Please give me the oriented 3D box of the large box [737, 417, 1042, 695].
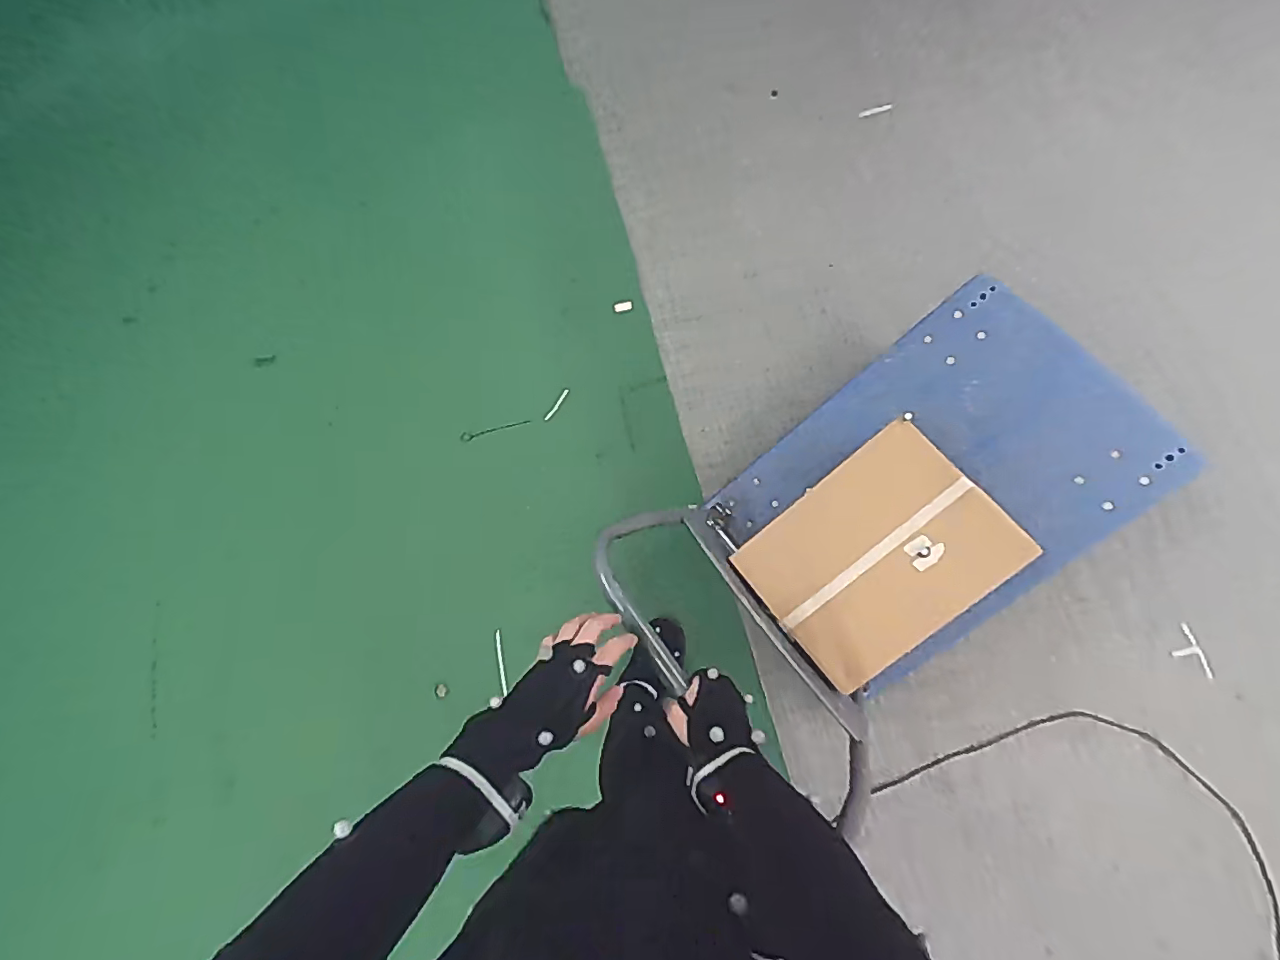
[{"bbox_3d":[0.460,0.149,1.080,0.408,0.320,0.320,-41,73,10],"label":"large box"}]
